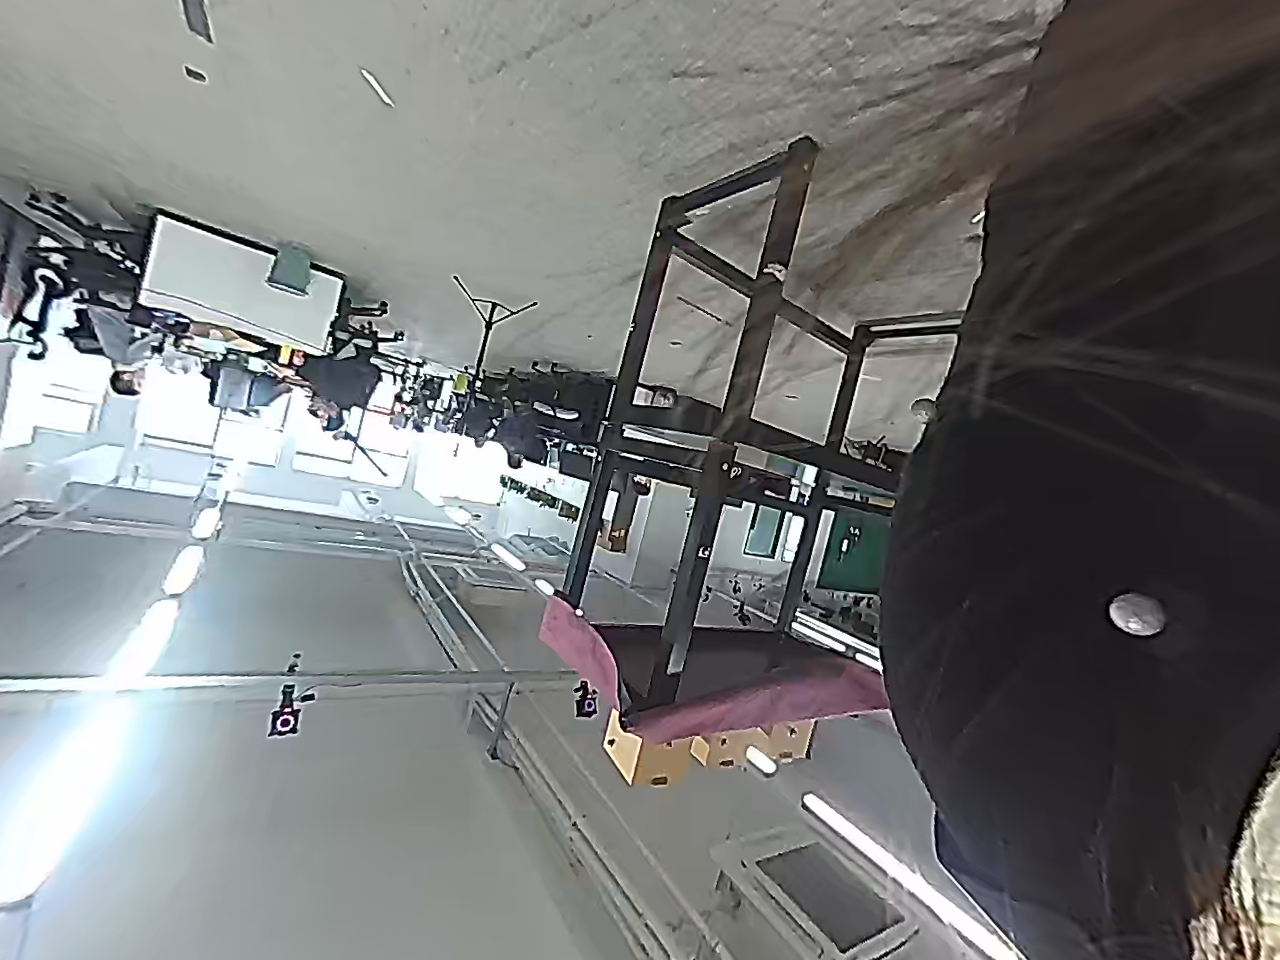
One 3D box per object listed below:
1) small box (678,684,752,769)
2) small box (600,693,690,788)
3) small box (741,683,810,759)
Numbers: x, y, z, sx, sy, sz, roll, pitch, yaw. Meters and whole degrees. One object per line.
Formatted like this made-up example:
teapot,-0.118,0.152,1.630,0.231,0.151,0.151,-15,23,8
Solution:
small box,0.215,0.732,1.622,0.168,0.176,0.179,14,-178,-32
small box,0.014,0.690,1.455,0.168,0.176,0.179,12,-177,-29
small box,0.434,0.784,1.772,0.168,0.176,0.179,13,-179,-26
